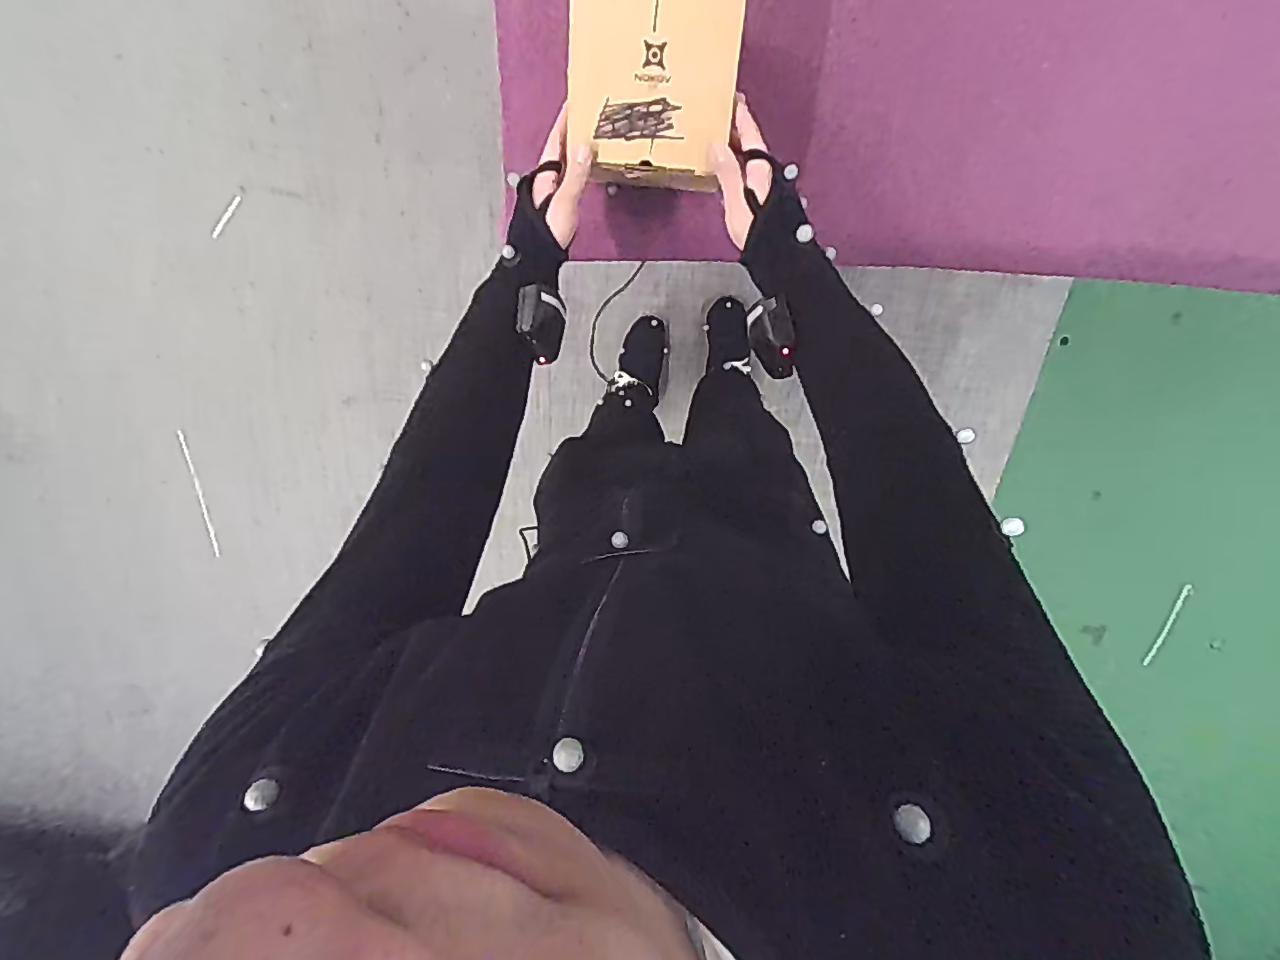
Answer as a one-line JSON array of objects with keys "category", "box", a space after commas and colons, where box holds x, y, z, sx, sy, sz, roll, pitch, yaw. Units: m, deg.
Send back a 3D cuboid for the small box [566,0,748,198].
[{"category": "small box", "box": [0.017, -0.419, 0.594, 0.168, 0.176, 0.179, 5, 112, 1]}]
